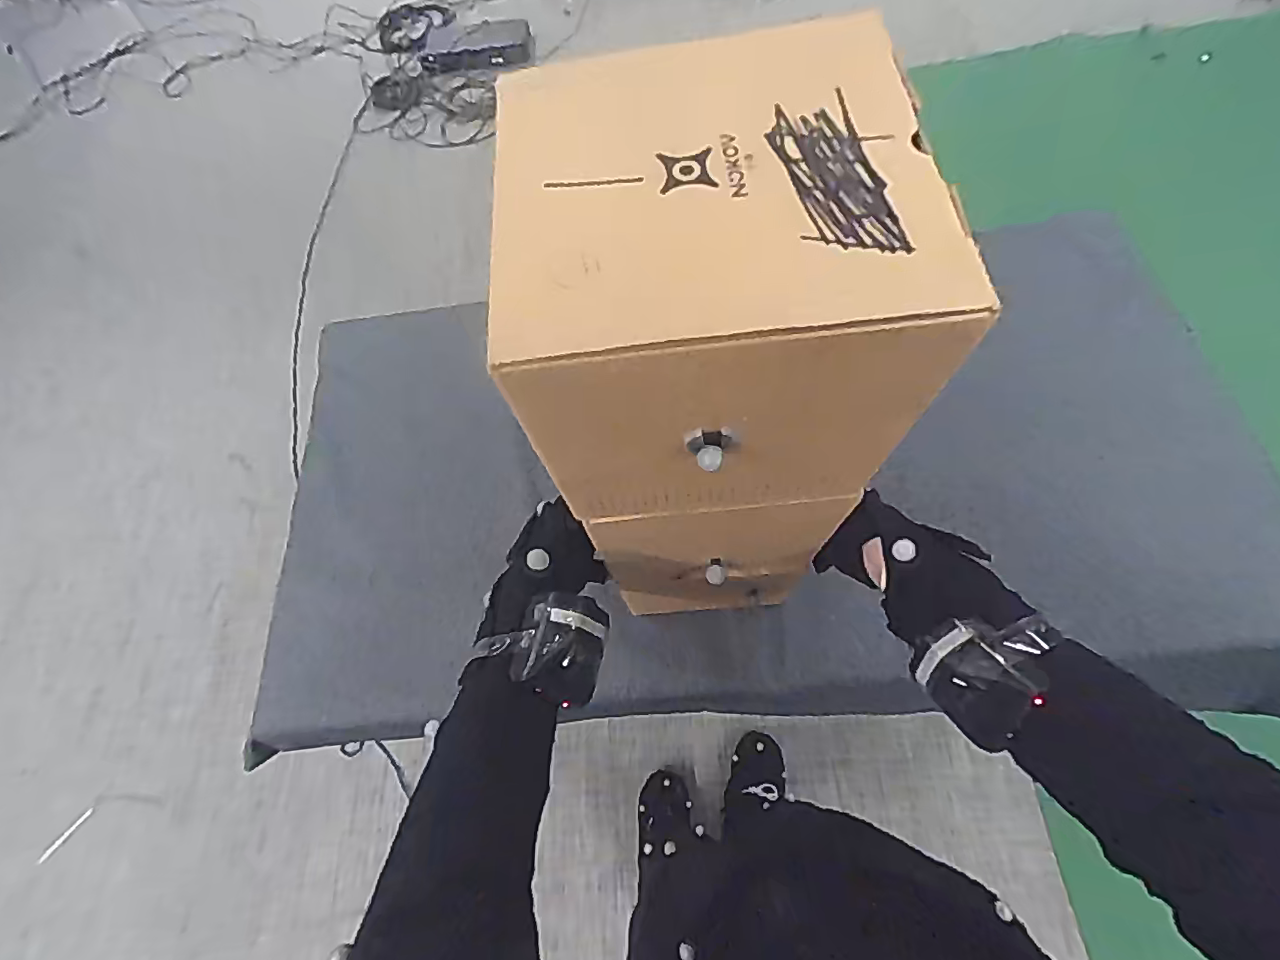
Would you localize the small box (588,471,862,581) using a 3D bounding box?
[{"bbox_3d":[0.053,-0.021,0.443,0.179,0.176,0.168,-6,65,2],"label":"small box"}]

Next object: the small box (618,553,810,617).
[{"bbox_3d":[0.069,0.048,0.591,0.179,0.176,0.168,-6,65,4],"label":"small box"}]

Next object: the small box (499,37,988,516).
[{"bbox_3d":[0.037,-0.088,0.294,0.179,0.176,0.168,-6,66,3],"label":"small box"}]
